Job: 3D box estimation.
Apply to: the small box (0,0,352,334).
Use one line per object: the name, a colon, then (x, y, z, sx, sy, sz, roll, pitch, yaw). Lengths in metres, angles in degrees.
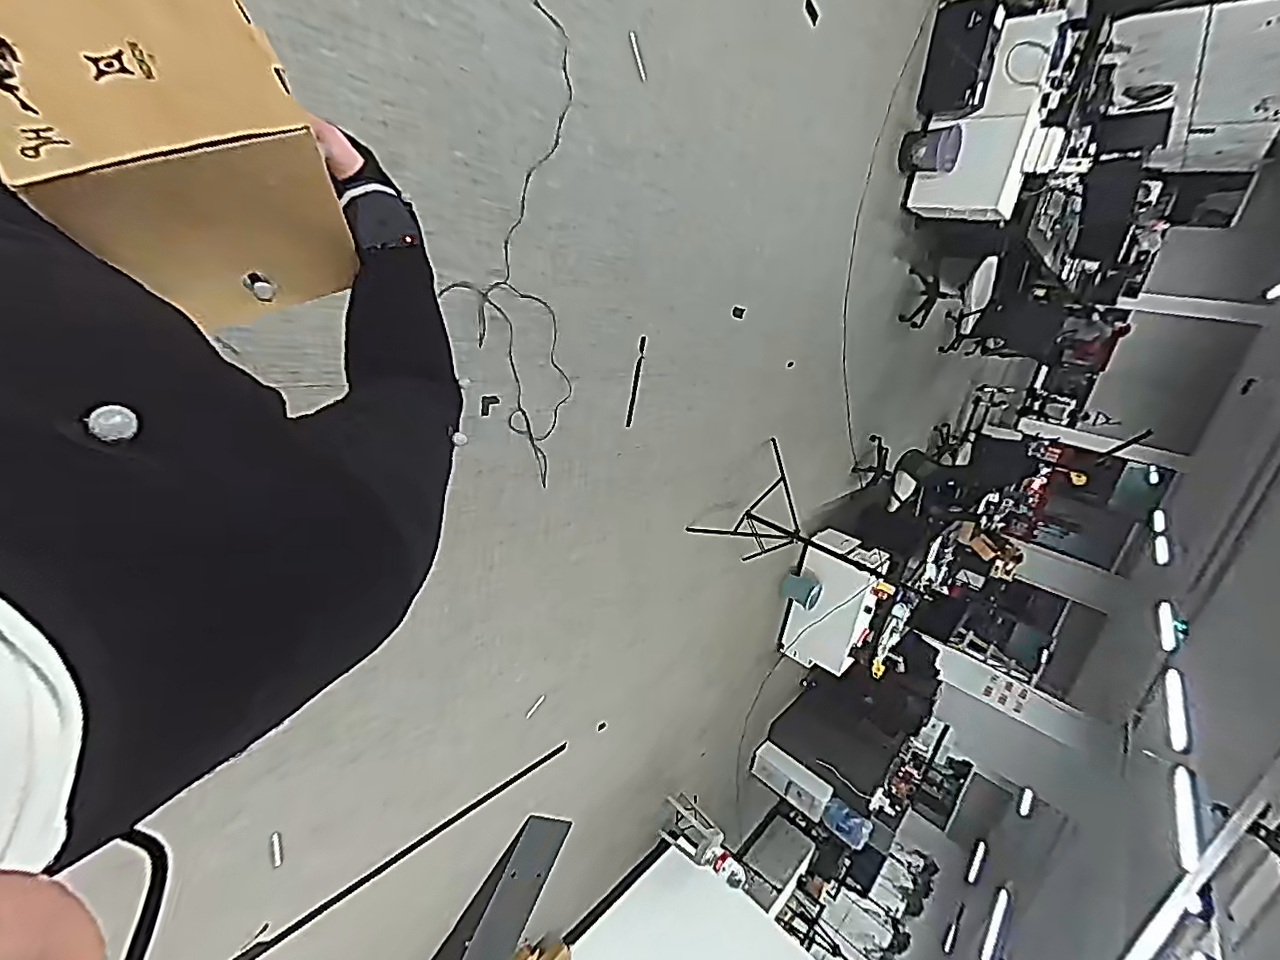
small box: (-0.371, -0.257, 0.459, 0.179, 0.168, 0.176, -28, 169, -21)
